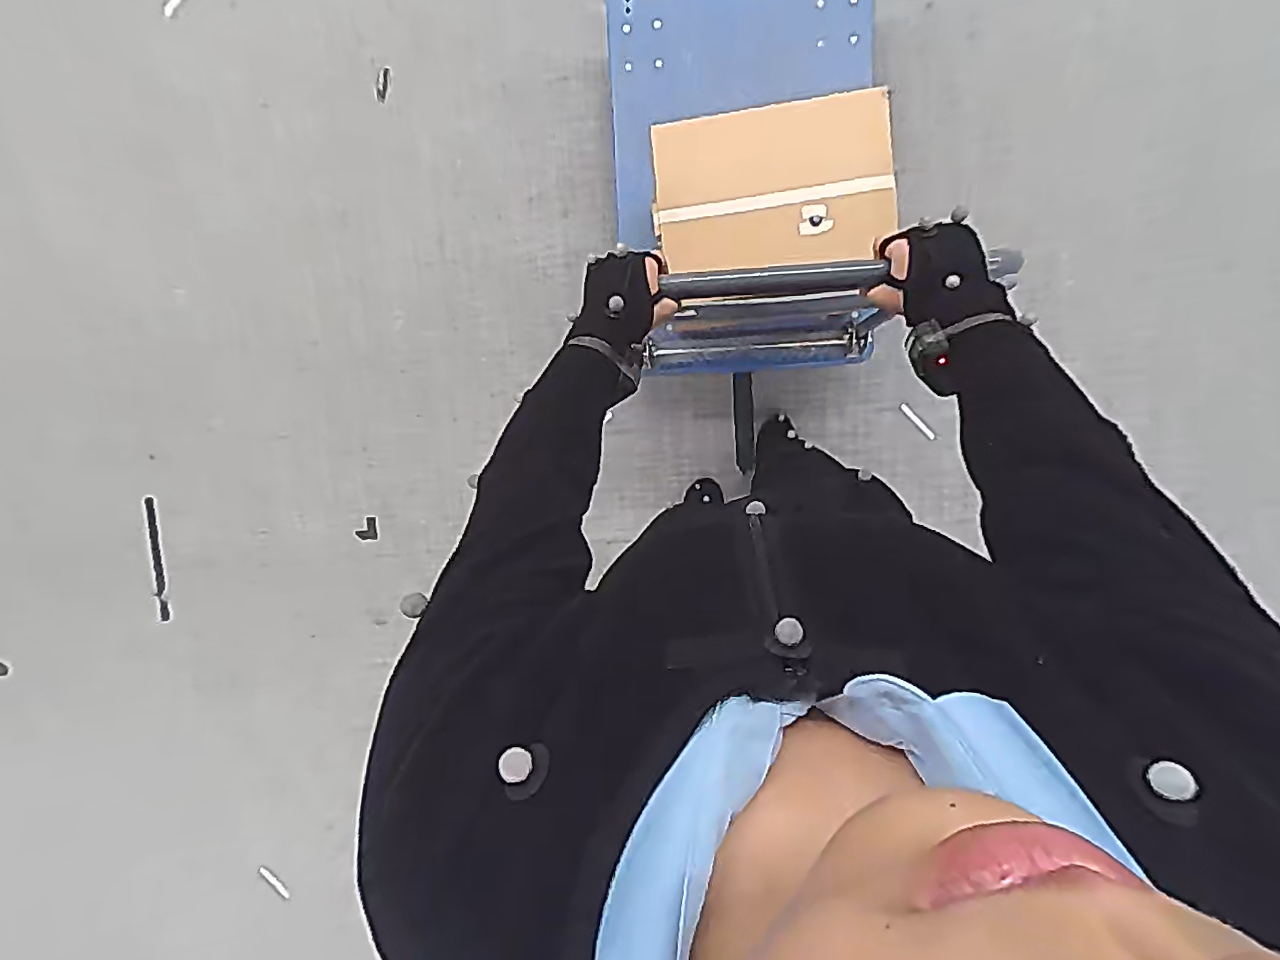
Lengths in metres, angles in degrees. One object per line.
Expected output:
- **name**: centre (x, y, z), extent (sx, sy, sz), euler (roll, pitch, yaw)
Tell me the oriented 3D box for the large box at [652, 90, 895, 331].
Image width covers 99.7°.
- **large box**: centre (0.248, -0.509, 1.103), extent (0.408, 0.320, 0.320), euler (-6, 96, 6)
